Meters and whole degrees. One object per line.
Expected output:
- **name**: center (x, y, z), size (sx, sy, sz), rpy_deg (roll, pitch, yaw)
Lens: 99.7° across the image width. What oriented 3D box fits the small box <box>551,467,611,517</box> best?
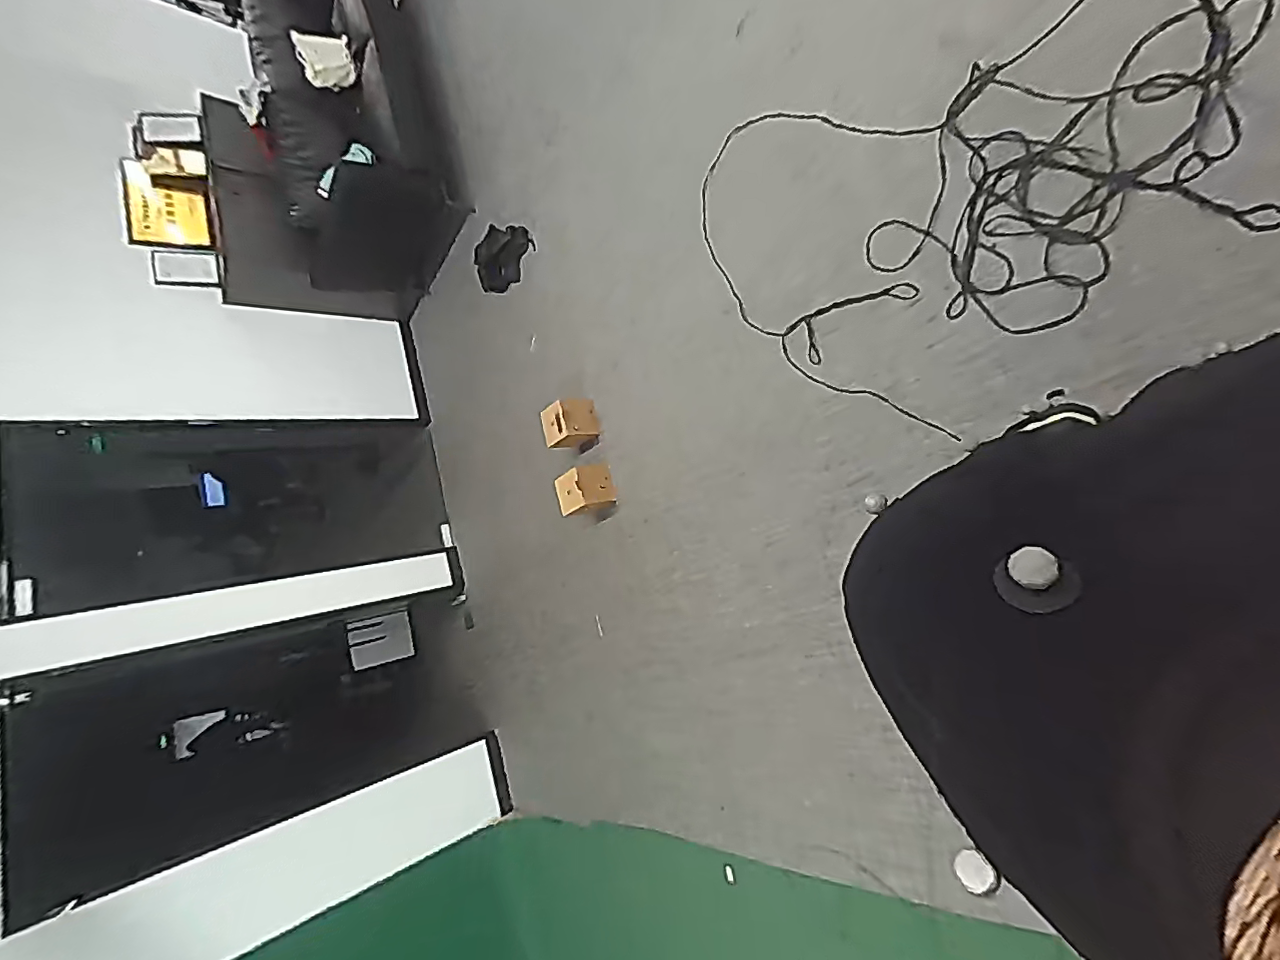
- **small box**: center (-0.248, 0.050, 2.291), size (0.179, 0.176, 0.168), rpy_deg (-30, 71, 46)
